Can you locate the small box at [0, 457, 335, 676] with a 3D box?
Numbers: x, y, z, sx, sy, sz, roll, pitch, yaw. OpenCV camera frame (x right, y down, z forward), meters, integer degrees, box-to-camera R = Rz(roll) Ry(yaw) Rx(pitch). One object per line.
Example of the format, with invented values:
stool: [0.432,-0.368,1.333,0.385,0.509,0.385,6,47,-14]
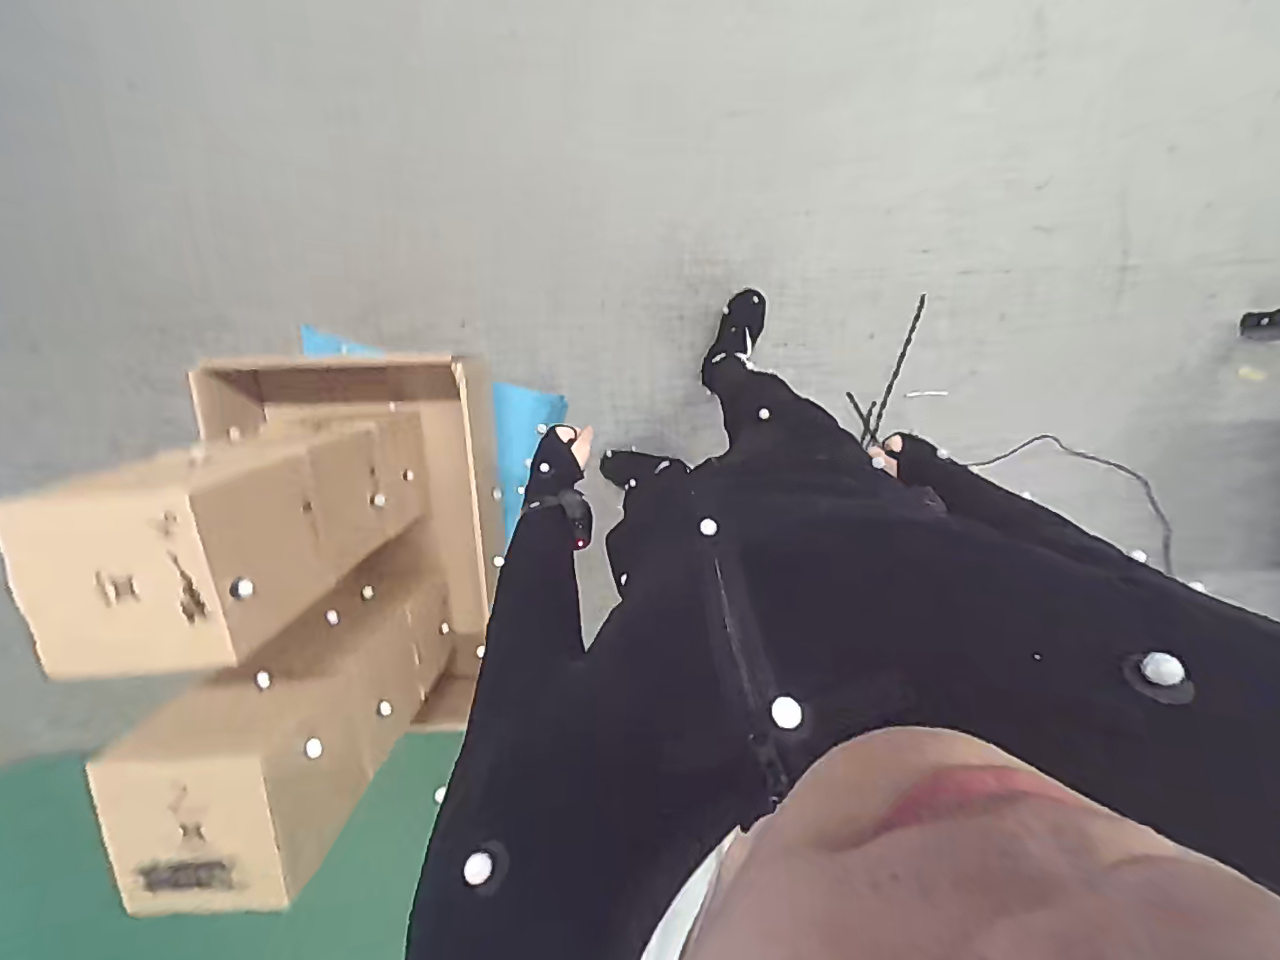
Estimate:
small box: [-0.451,0.076,0.546,0.179,0.176,0.168,-4,104,2]

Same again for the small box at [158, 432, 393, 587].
small box: [-0.453,0.034,0.703,0.179,0.176,0.168,-3,104,1]

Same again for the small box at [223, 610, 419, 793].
small box: [-0.429,0.302,0.762,0.168,0.176,0.179,-3,101,0]
